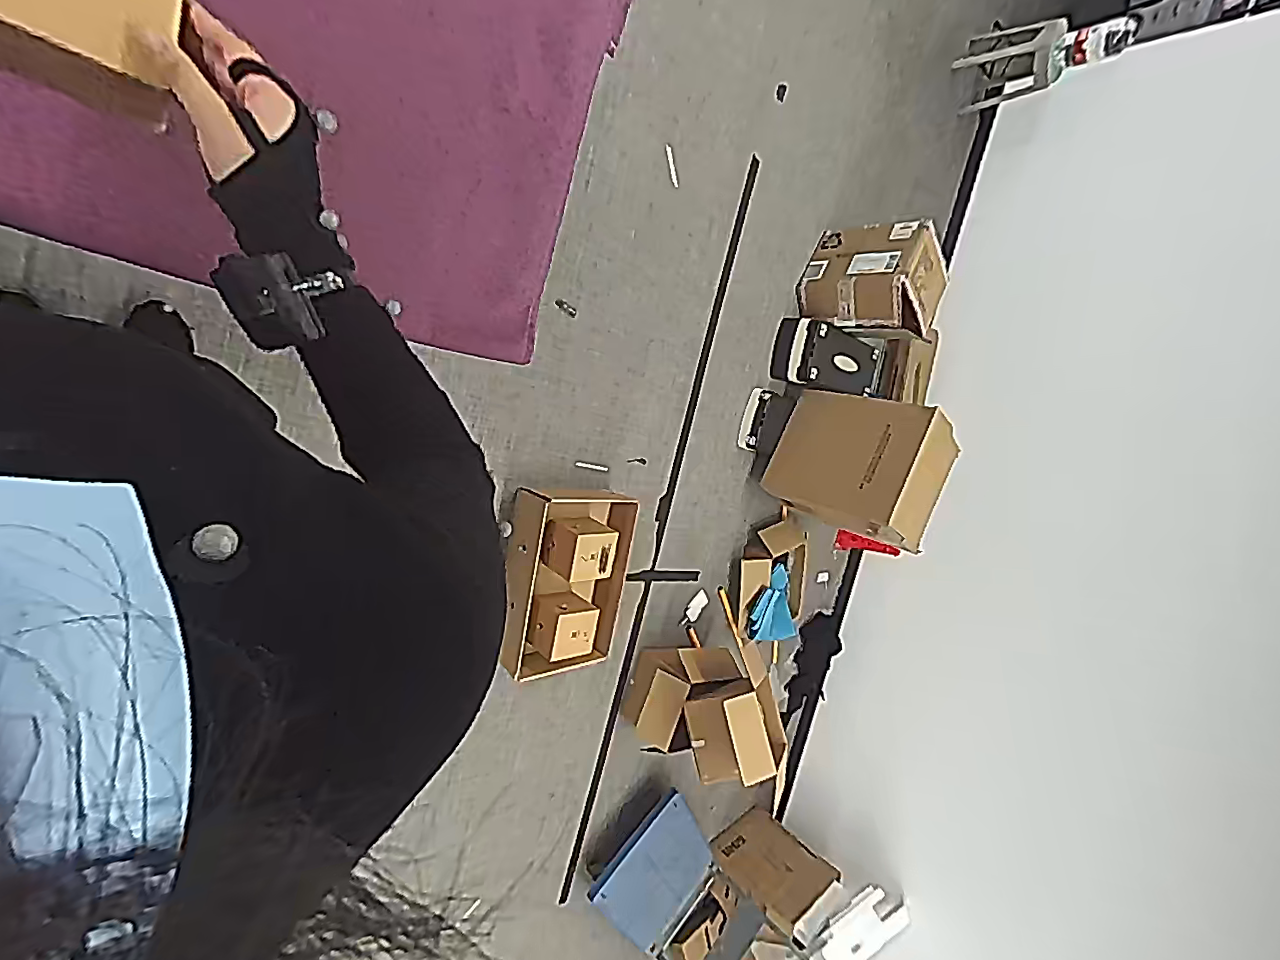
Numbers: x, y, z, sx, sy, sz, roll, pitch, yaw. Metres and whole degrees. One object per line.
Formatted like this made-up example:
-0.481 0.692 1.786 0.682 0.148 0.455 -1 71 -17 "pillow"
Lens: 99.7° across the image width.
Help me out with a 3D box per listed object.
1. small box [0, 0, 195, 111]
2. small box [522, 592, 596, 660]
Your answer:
-0.392 -0.365 0.337 0.179 0.176 0.168 7 103 -43 "small box"
-0.284 0.498 1.871 0.179 0.176 0.168 5 101 -45 "small box"
